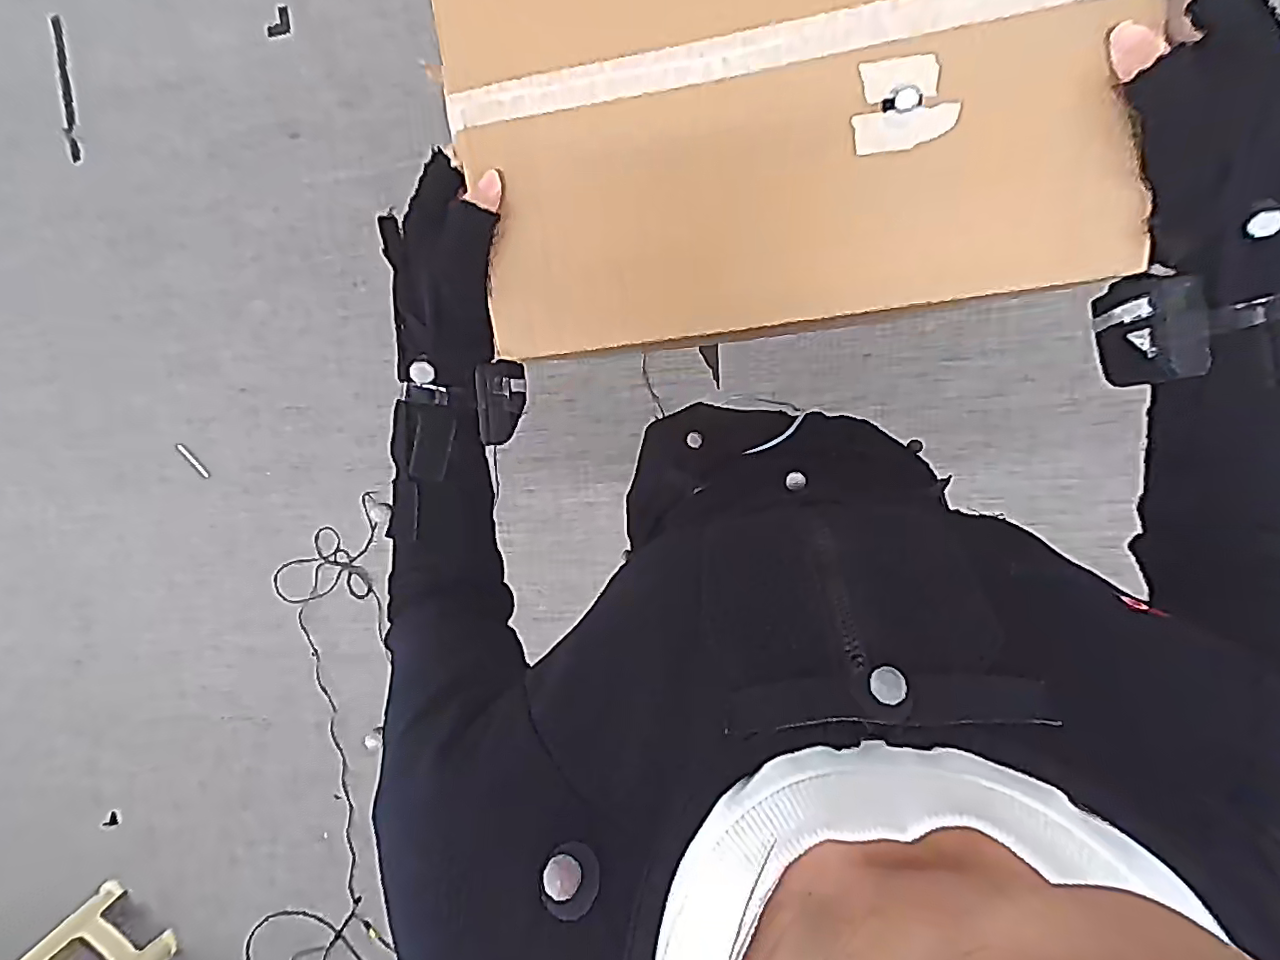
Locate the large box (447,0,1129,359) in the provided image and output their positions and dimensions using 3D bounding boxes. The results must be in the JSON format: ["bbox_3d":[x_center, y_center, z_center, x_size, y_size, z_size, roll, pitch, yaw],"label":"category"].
[{"bbox_3d":[0.095,-0.293,0.478,0.408,0.320,0.320,-7,102,7],"label":"large box"}]
